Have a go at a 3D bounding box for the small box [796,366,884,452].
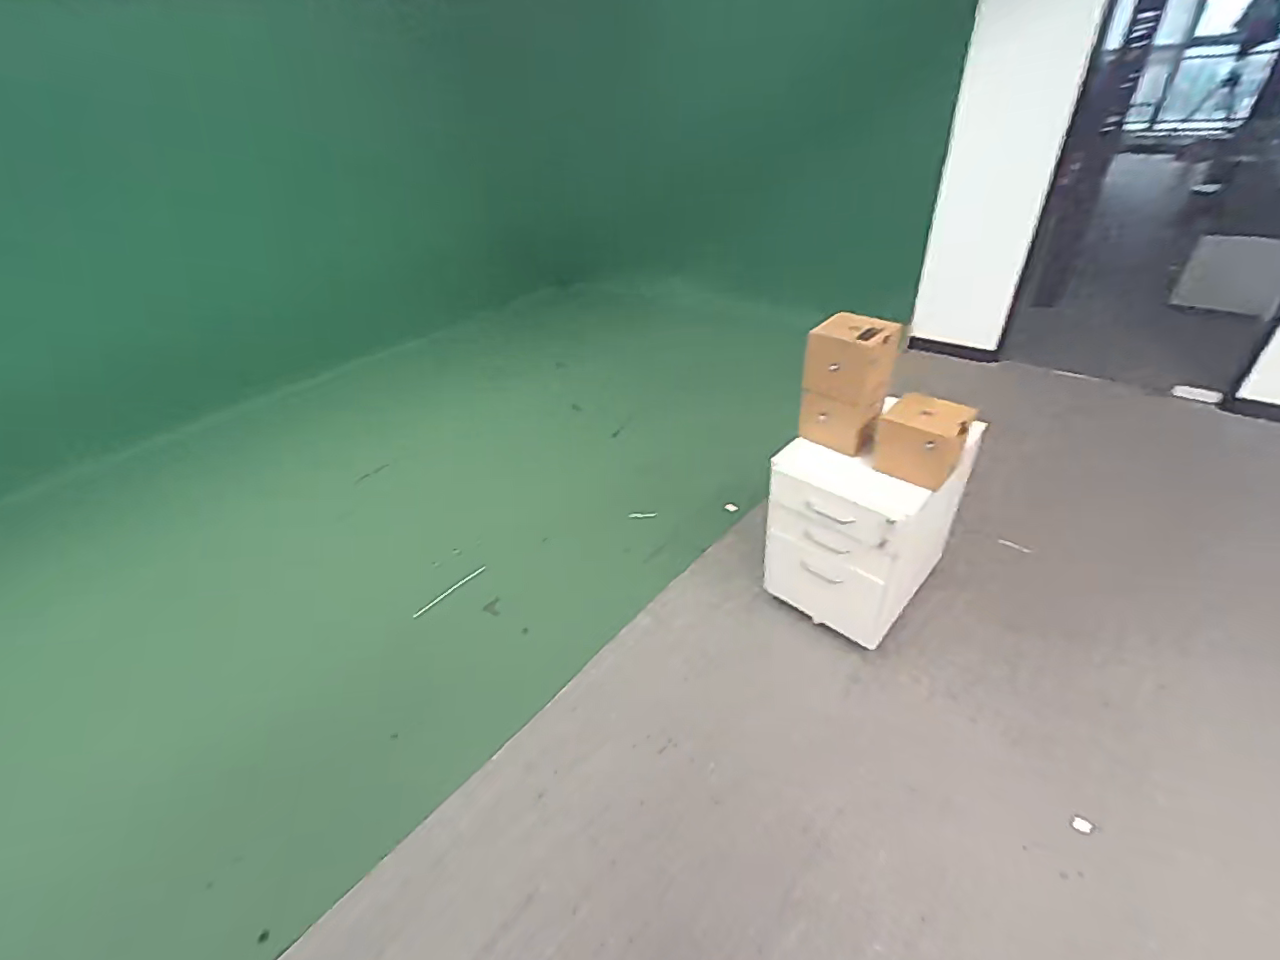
[{"bbox_3d":[0.567,-0.202,1.550,0.179,0.176,0.168,27,49,35],"label":"small box"}]
